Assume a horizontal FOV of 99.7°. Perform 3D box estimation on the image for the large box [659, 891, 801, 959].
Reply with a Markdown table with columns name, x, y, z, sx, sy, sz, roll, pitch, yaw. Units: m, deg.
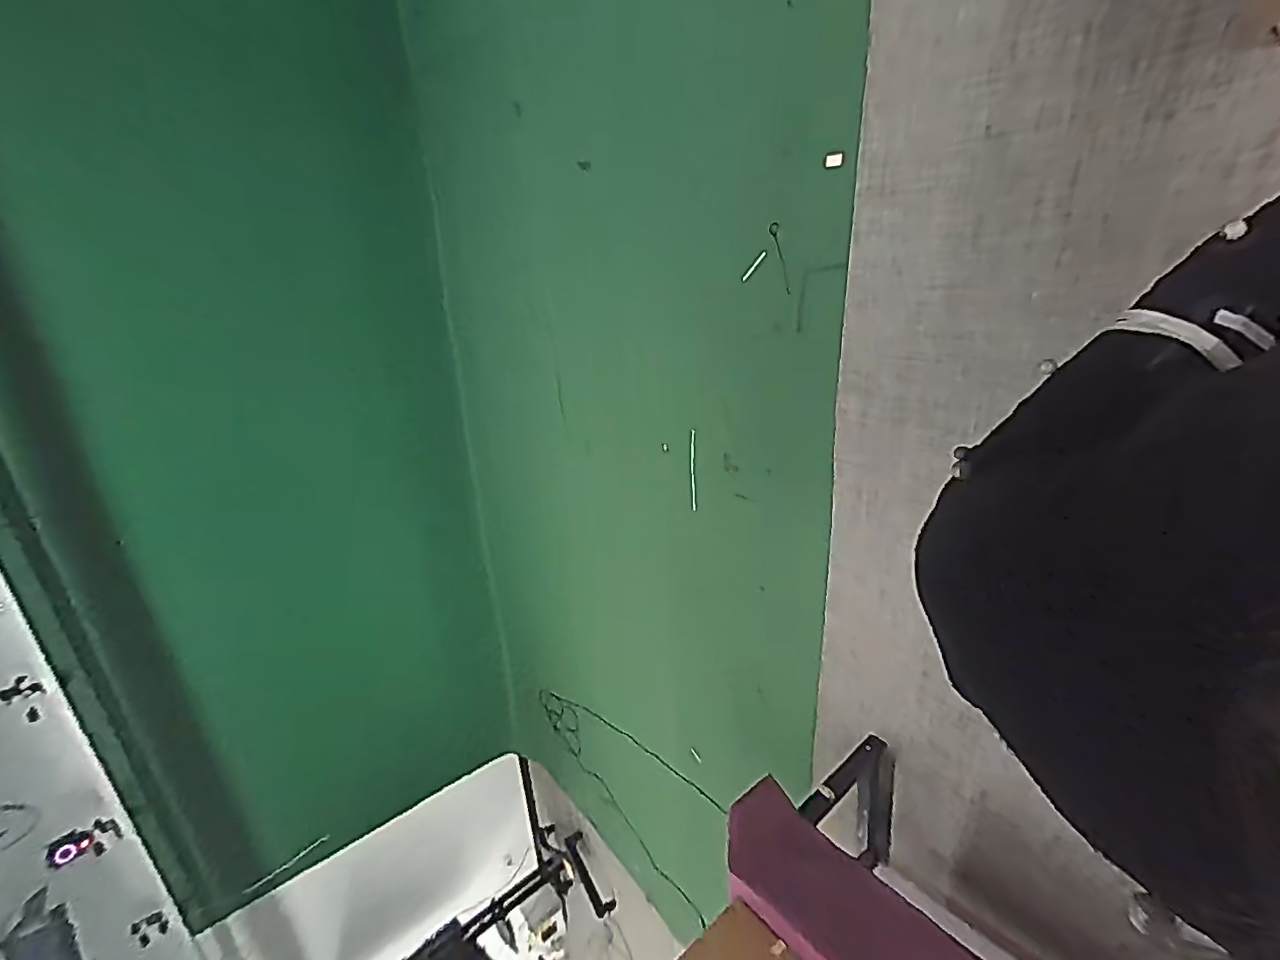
| name | x | y | z | sx | sy | sz | roll | pitch | yaw |
| --- | --- | --- | --- | --- | --- | --- | --- | --- | --- |
| large box | 0.235 | 1.376 | 1.348 | 0.320 | 0.320 | 0.408 | 19 | 119 | 47 |
